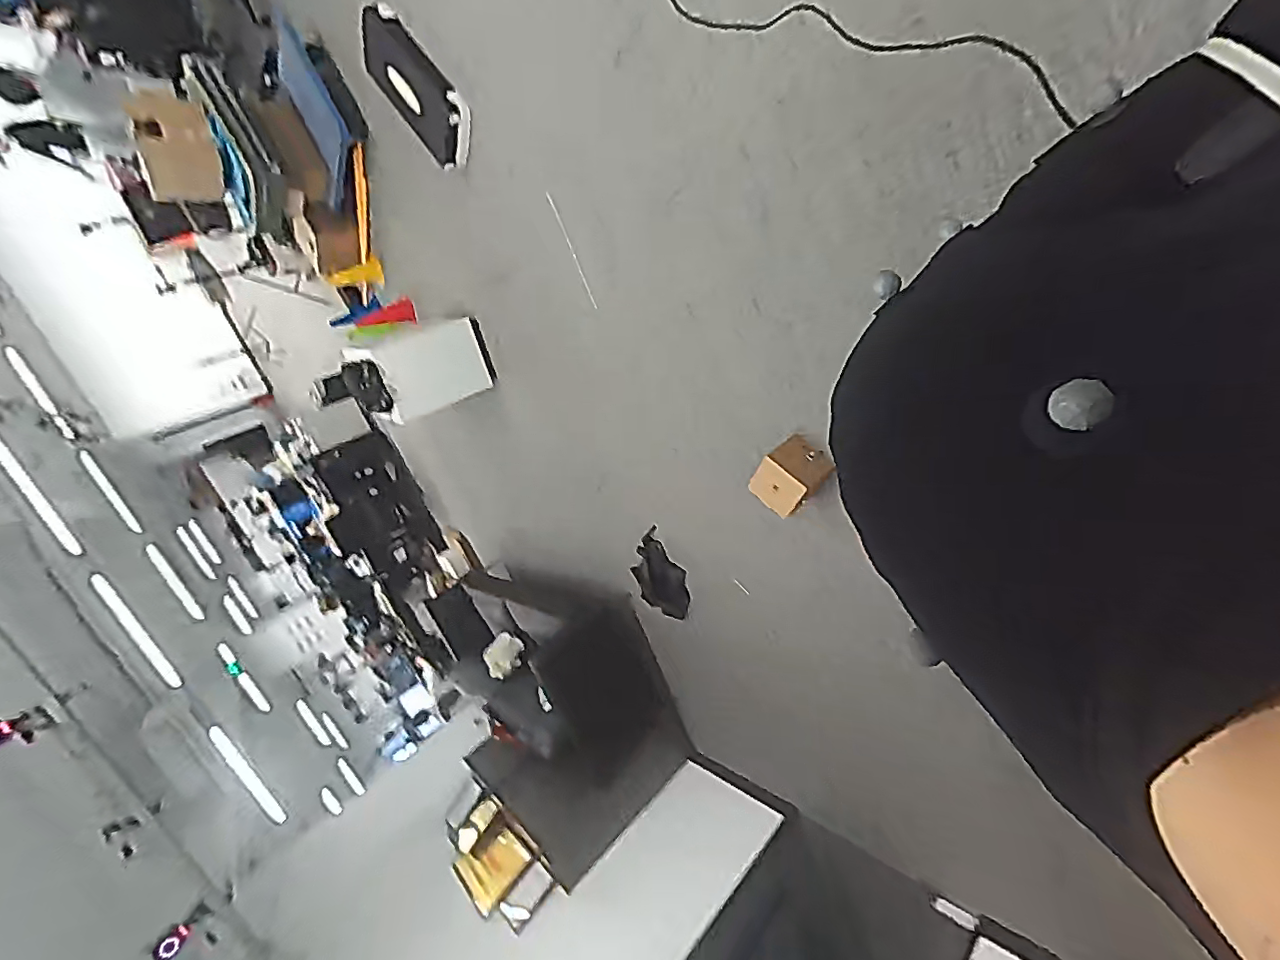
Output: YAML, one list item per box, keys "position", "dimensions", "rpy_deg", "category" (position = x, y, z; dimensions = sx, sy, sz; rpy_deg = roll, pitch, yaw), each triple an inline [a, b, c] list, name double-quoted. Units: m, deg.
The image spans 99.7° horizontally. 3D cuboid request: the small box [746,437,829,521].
- position: [0.480, -0.007, 1.753]
  dimensions: [0.168, 0.176, 0.179]
  rpy_deg: [43, 144, 20]
  category: "small box"
